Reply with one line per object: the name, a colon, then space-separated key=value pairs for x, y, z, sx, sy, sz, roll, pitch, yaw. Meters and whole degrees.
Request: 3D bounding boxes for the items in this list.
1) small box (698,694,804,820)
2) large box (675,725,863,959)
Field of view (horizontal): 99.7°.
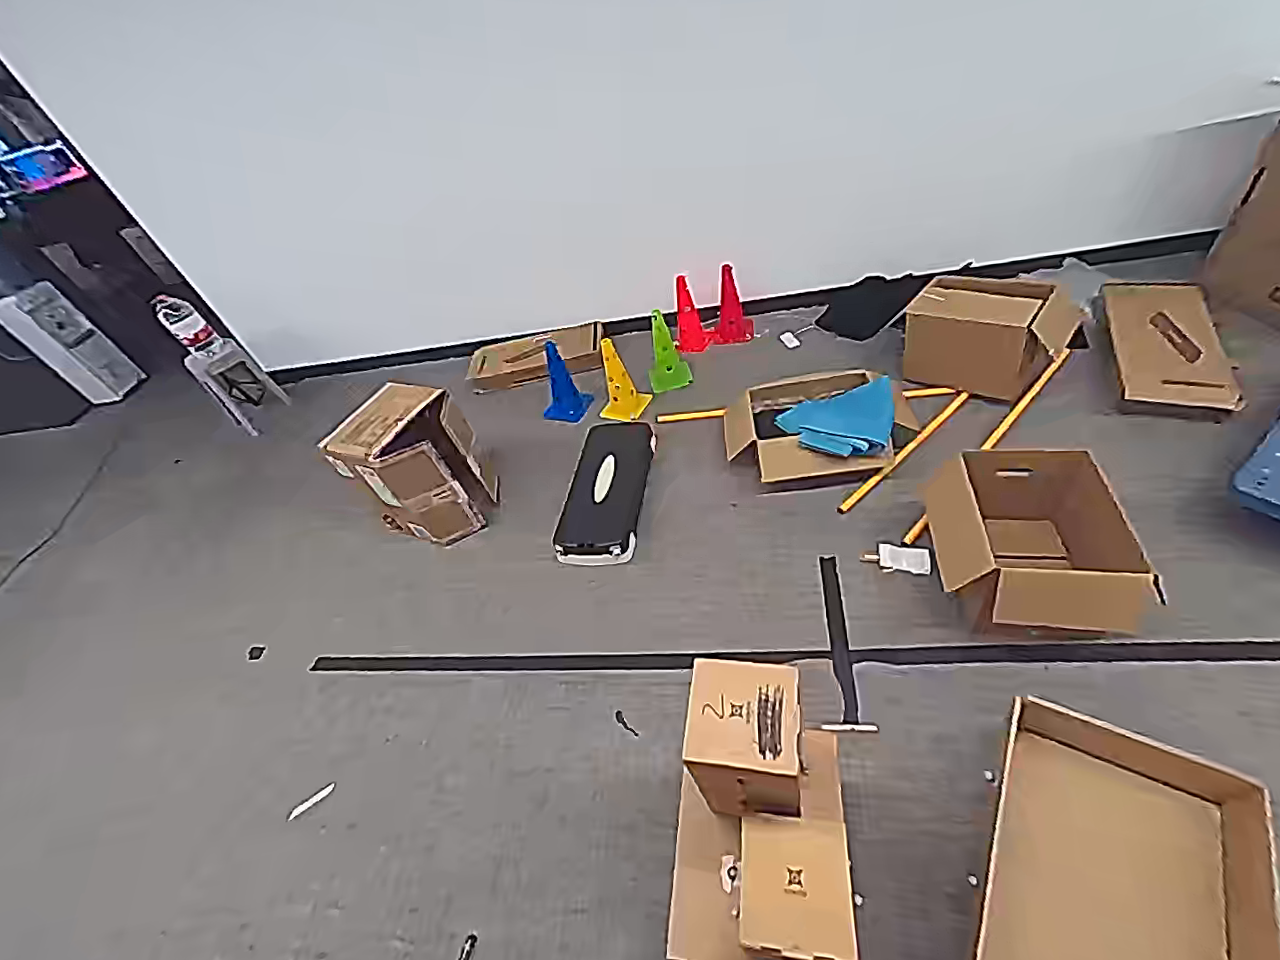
small box: x=0.217 y=0.524 z=1.022 sx=0.179 sy=0.176 sz=0.168 roll=0 pitch=49 yaw=17
large box: x=0.262 y=0.770 z=1.120 sx=0.320 sy=0.320 sz=0.408 roll=-4 pitch=47 yaw=15
